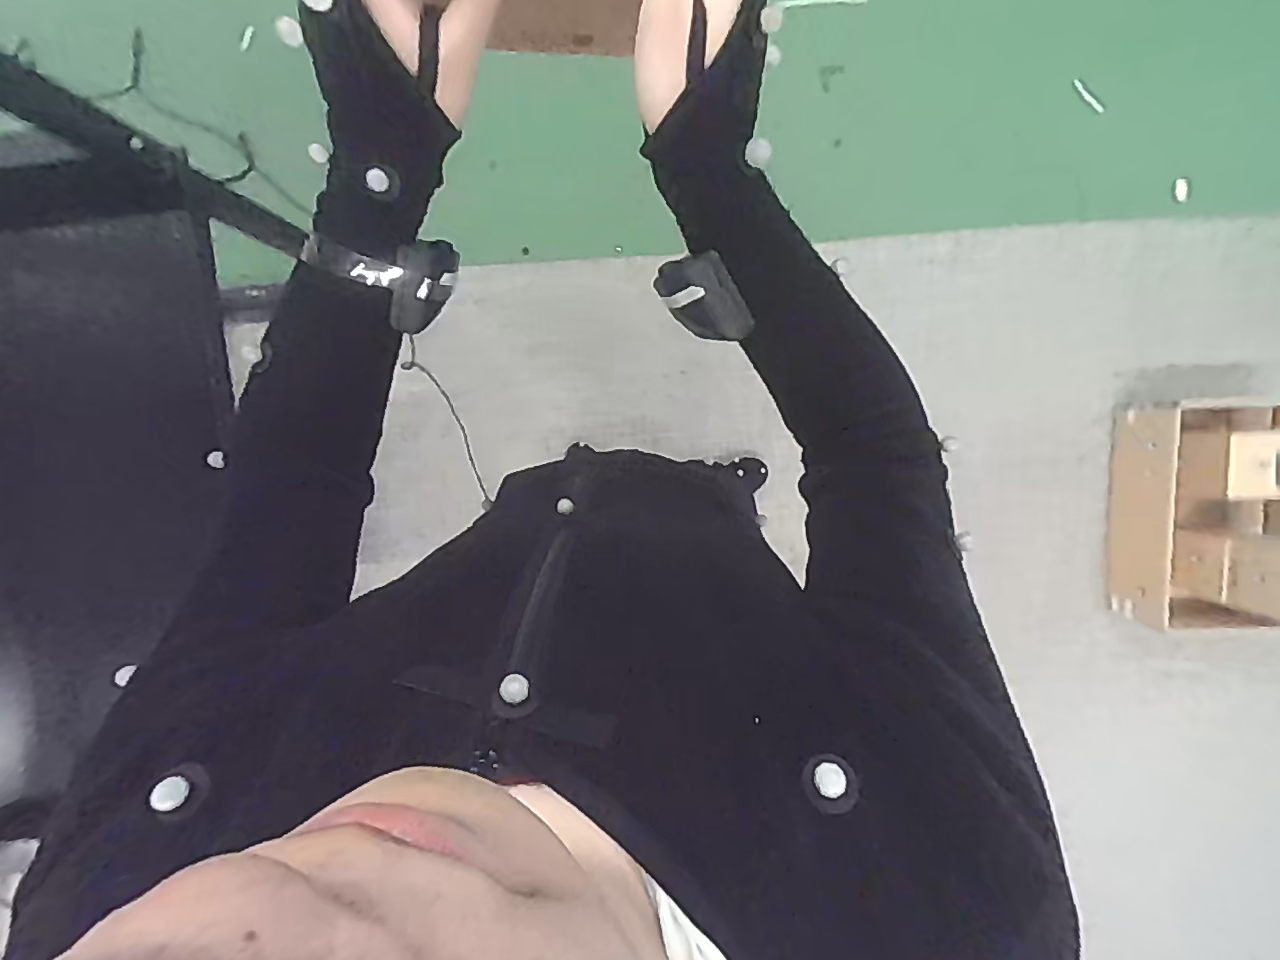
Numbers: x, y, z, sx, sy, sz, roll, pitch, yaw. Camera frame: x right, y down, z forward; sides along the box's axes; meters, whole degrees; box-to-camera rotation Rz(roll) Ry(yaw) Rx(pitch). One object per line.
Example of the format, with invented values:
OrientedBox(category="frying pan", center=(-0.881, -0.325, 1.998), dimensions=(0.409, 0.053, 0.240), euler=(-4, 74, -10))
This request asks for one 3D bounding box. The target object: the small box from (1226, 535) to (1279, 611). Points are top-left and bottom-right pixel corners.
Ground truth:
OrientedBox(category="small box", center=(1.587, 0.229, 1.305), dimensions=(0.179, 0.176, 0.168), euler=(-1, 95, 2))

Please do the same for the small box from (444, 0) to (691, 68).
OrientedBox(category="small box", center=(-0.047, -0.381, 0.309), dimensions=(0.168, 0.176, 0.179), euler=(-1, 105, -7))

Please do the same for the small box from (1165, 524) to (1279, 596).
OrientedBox(category="small box", center=(1.590, 0.215, 1.470), dimensions=(0.179, 0.176, 0.168), euler=(-1, 94, 2))
